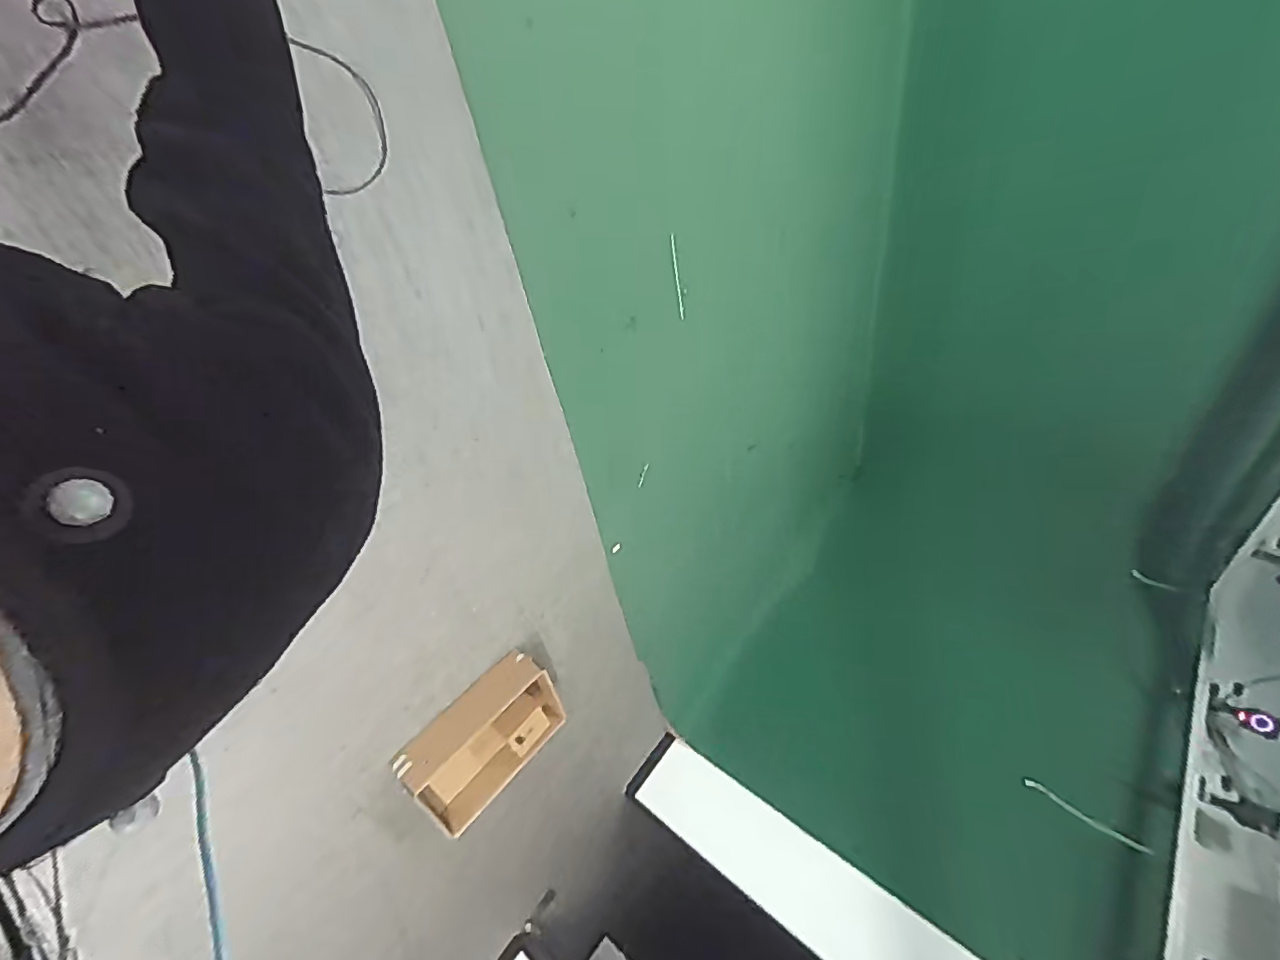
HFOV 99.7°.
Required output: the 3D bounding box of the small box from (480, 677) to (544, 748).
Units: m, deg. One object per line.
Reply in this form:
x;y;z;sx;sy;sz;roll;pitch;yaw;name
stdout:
-0.536;0.960;2.237;0.179;0.176;0.168;-46;139;-32;small box
